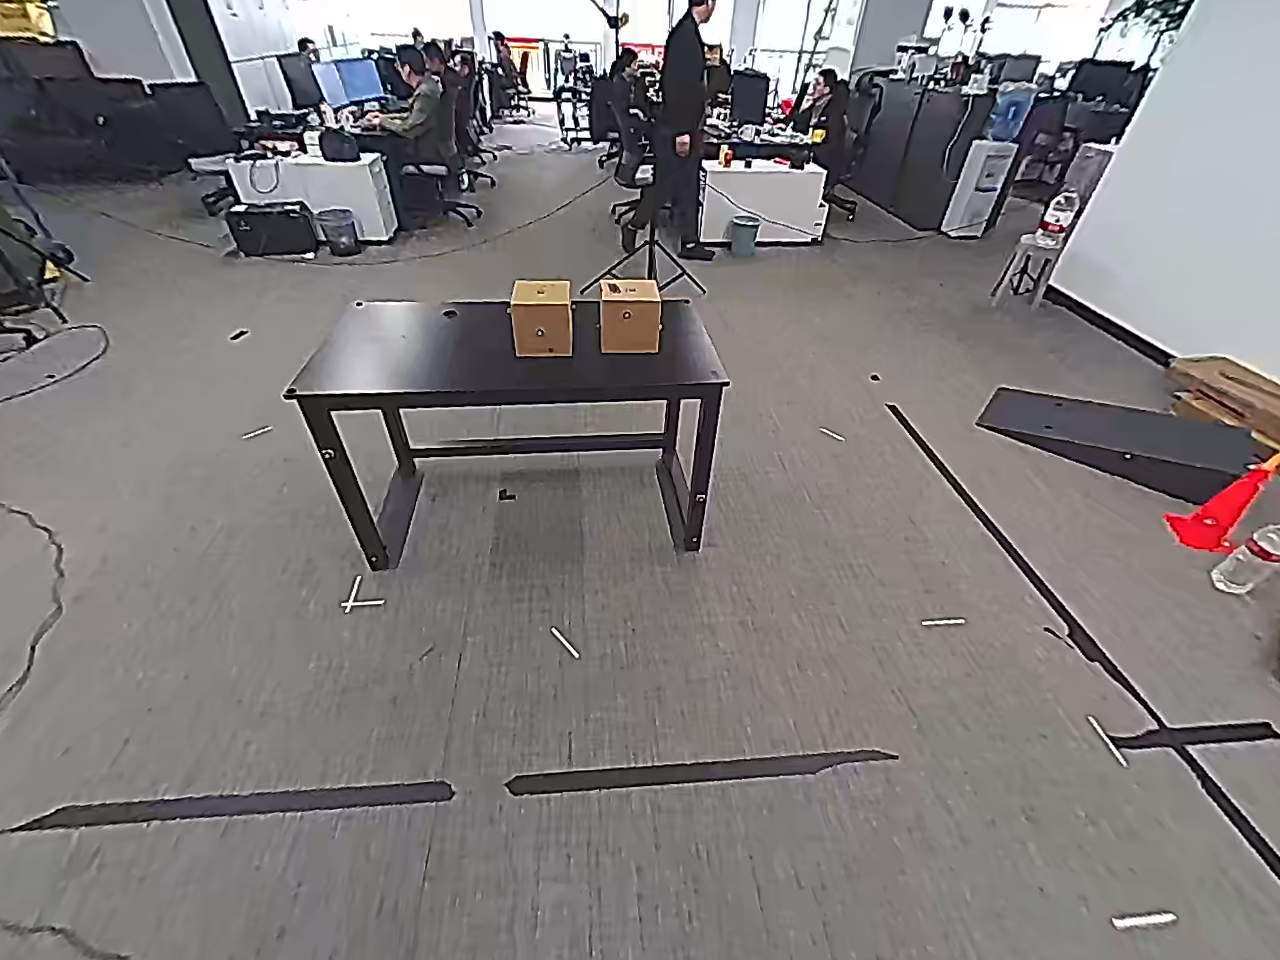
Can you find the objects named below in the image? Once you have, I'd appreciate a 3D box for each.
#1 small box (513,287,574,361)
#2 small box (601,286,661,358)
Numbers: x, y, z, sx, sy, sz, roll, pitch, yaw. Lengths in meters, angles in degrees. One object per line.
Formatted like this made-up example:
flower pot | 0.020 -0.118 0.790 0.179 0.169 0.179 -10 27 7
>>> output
small box | -0.289 -0.476 1.657 0.168 0.176 0.179 -1 40 -5
small box | -0.031 -0.493 1.688 0.179 0.176 0.168 -1 40 -5
